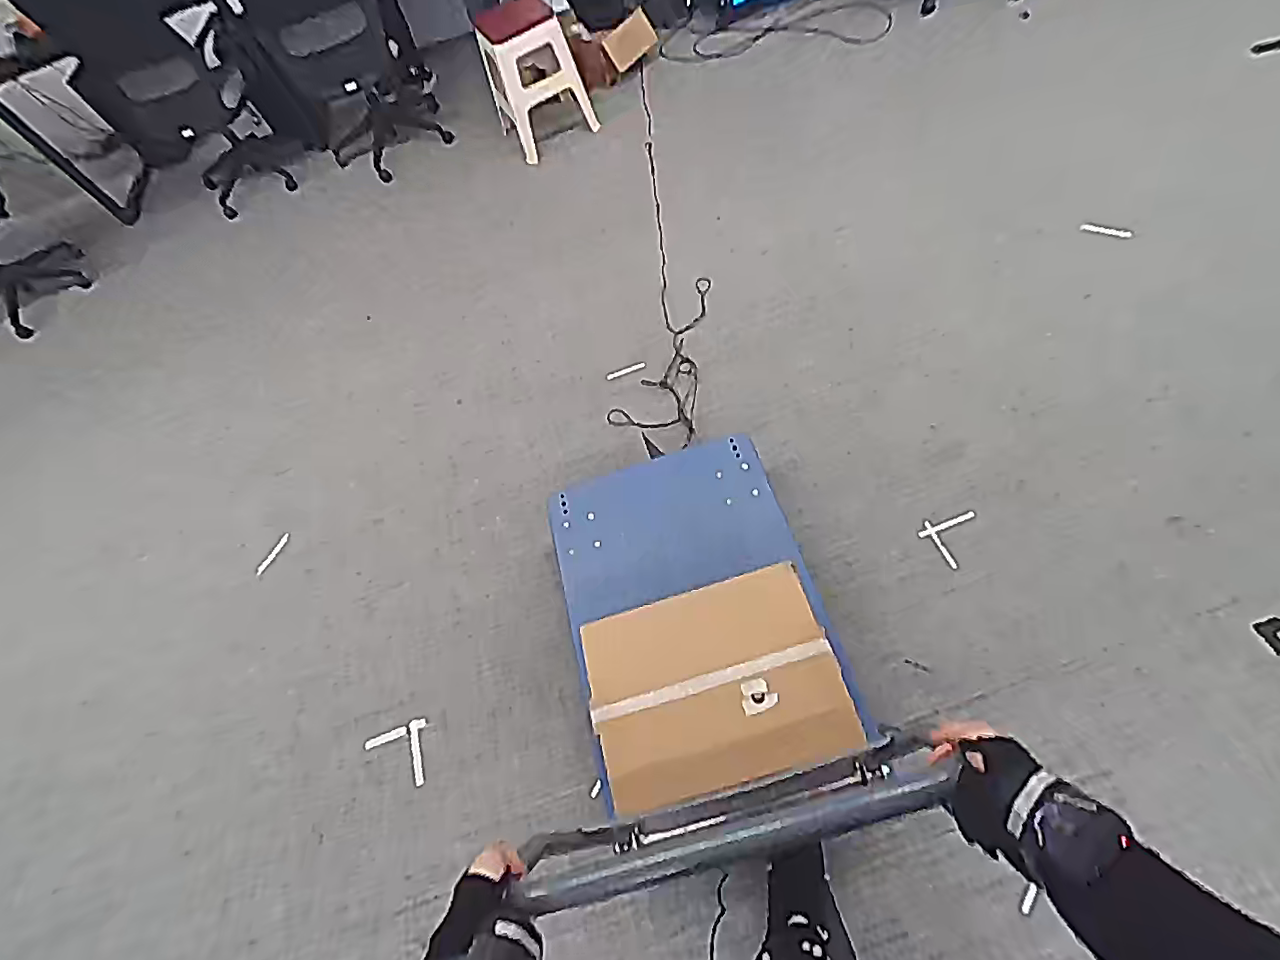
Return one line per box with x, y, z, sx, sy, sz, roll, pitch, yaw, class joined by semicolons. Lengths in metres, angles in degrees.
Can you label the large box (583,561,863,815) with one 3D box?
0.147;0.406;1.039;0.408;0.320;0.320;-18;60;2;large box
